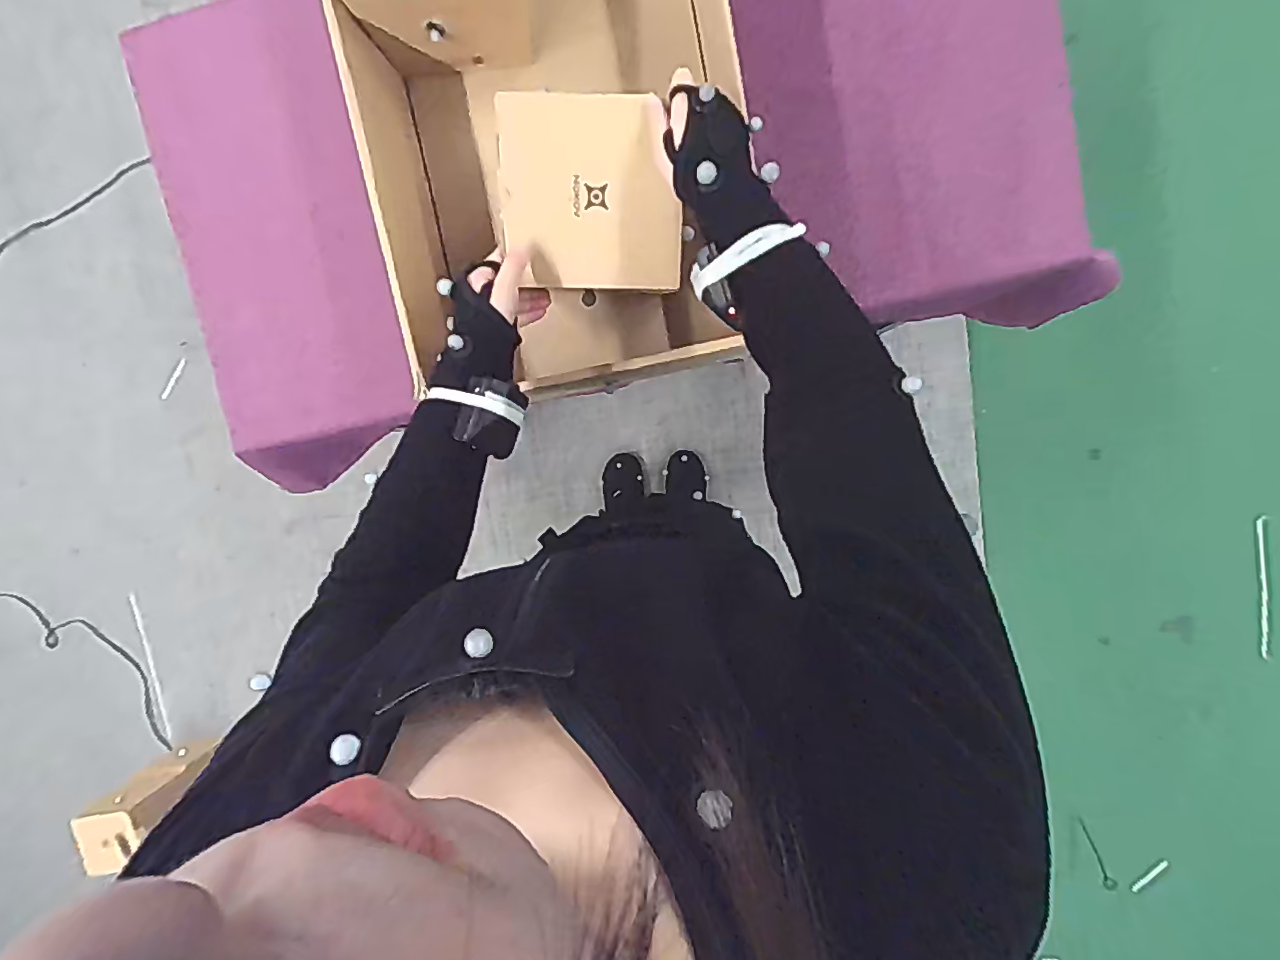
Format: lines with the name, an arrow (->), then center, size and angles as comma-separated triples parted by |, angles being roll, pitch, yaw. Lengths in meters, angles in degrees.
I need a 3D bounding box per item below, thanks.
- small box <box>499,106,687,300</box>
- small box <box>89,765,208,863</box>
small box -> -0.042, -0.290, 0.594 | 0.179, 0.176, 0.168 | 3, 109, 3
small box -> -1.367, 0.930, 1.520 | 0.179, 0.176, 0.168 | -12, 95, 8
